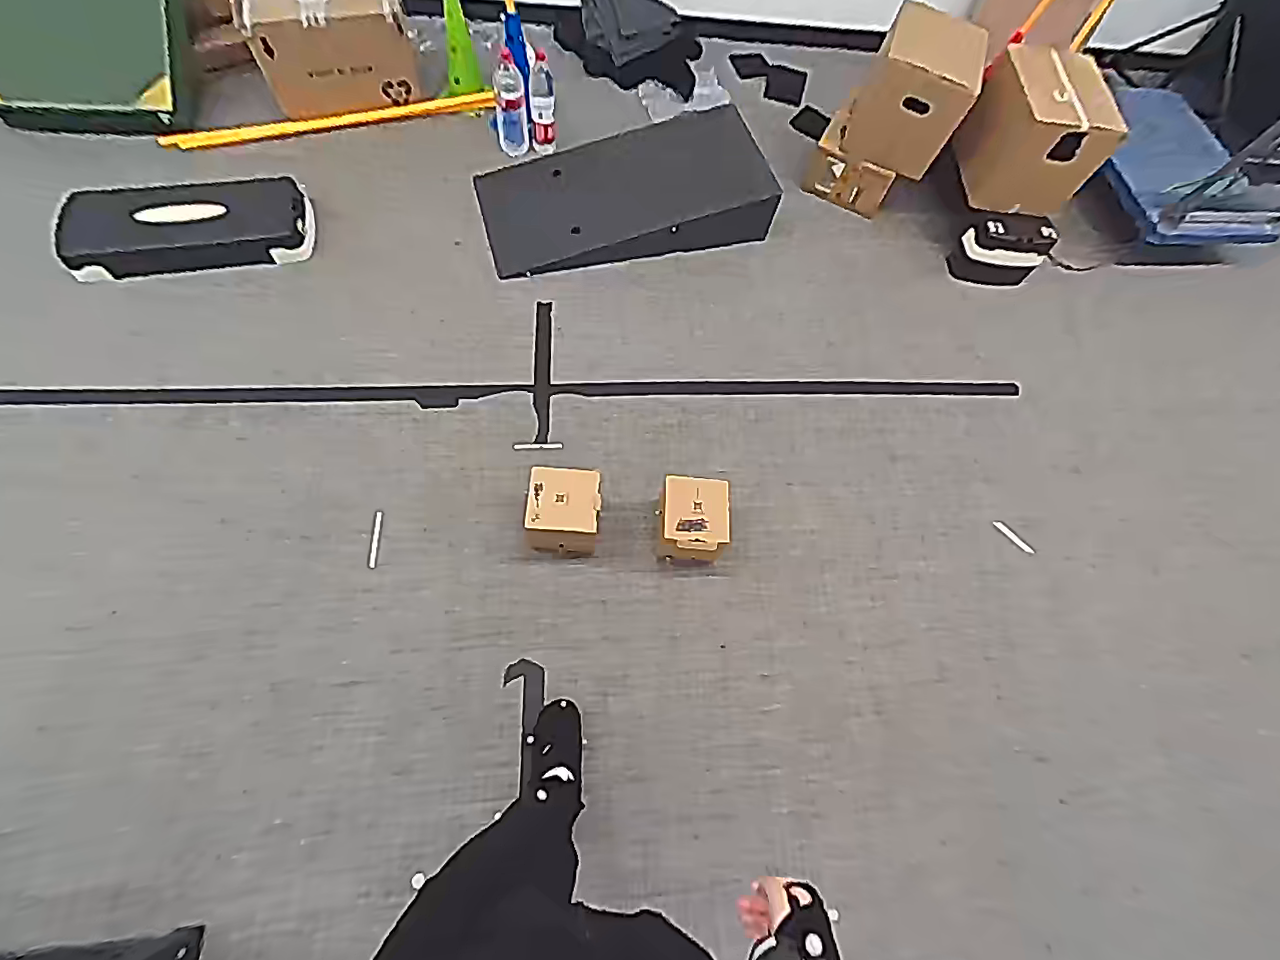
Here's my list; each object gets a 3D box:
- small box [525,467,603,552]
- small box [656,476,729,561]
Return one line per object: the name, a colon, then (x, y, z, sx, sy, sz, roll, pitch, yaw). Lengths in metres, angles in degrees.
small box: (-0.195, 0.082, 1.399, 0.179, 0.176, 0.168, 6, 65, -5)
small box: (0.135, 0.108, 1.428, 0.168, 0.176, 0.179, 6, 65, -5)
